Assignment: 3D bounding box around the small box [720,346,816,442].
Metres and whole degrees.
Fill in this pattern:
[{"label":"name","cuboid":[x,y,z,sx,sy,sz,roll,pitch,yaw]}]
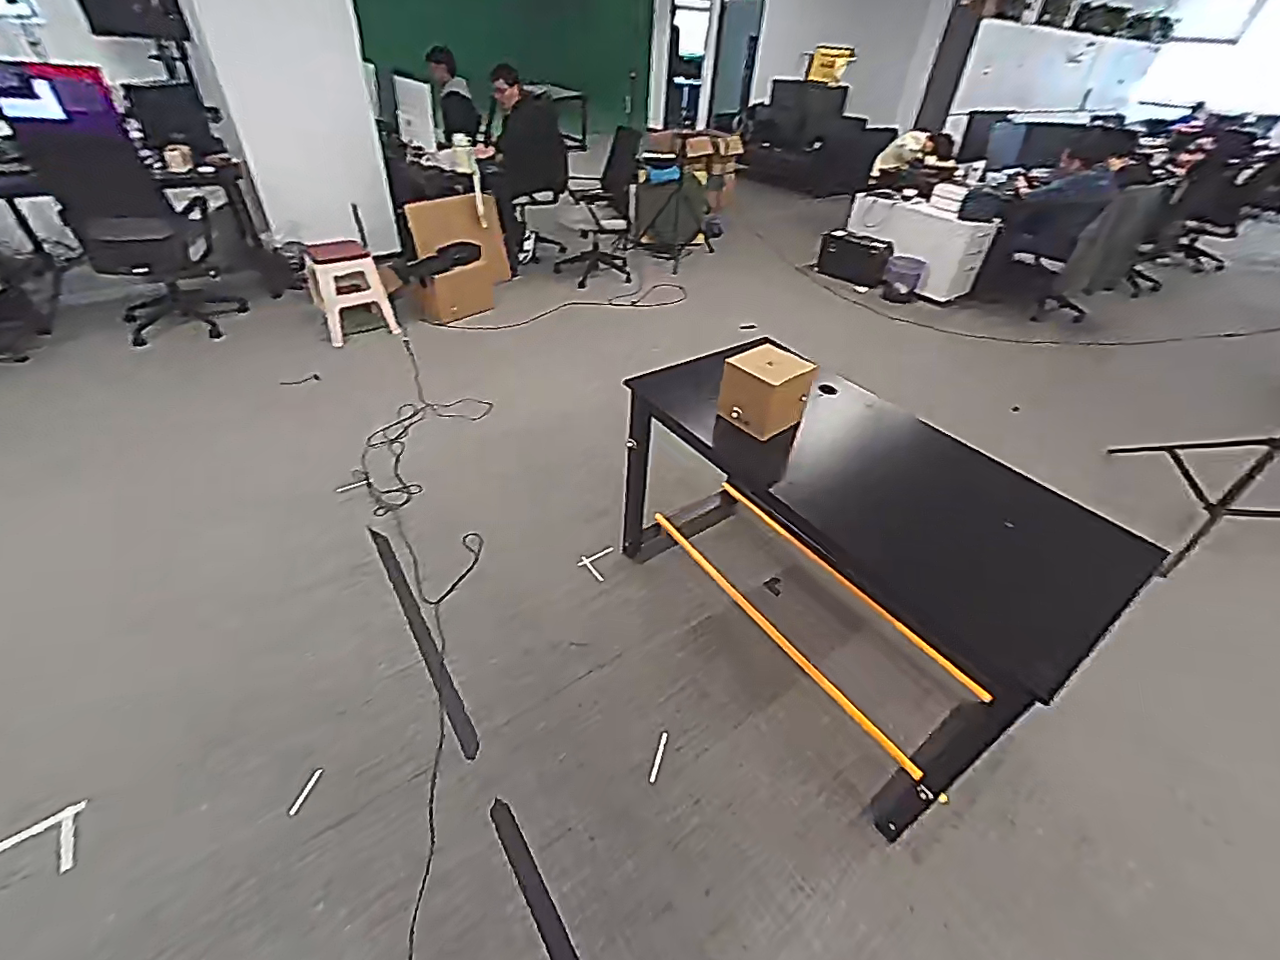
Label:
[{"label":"small box","cuboid":[0.331,-0.230,1.432,0.179,0.176,0.168,-28,49,-32]}]
